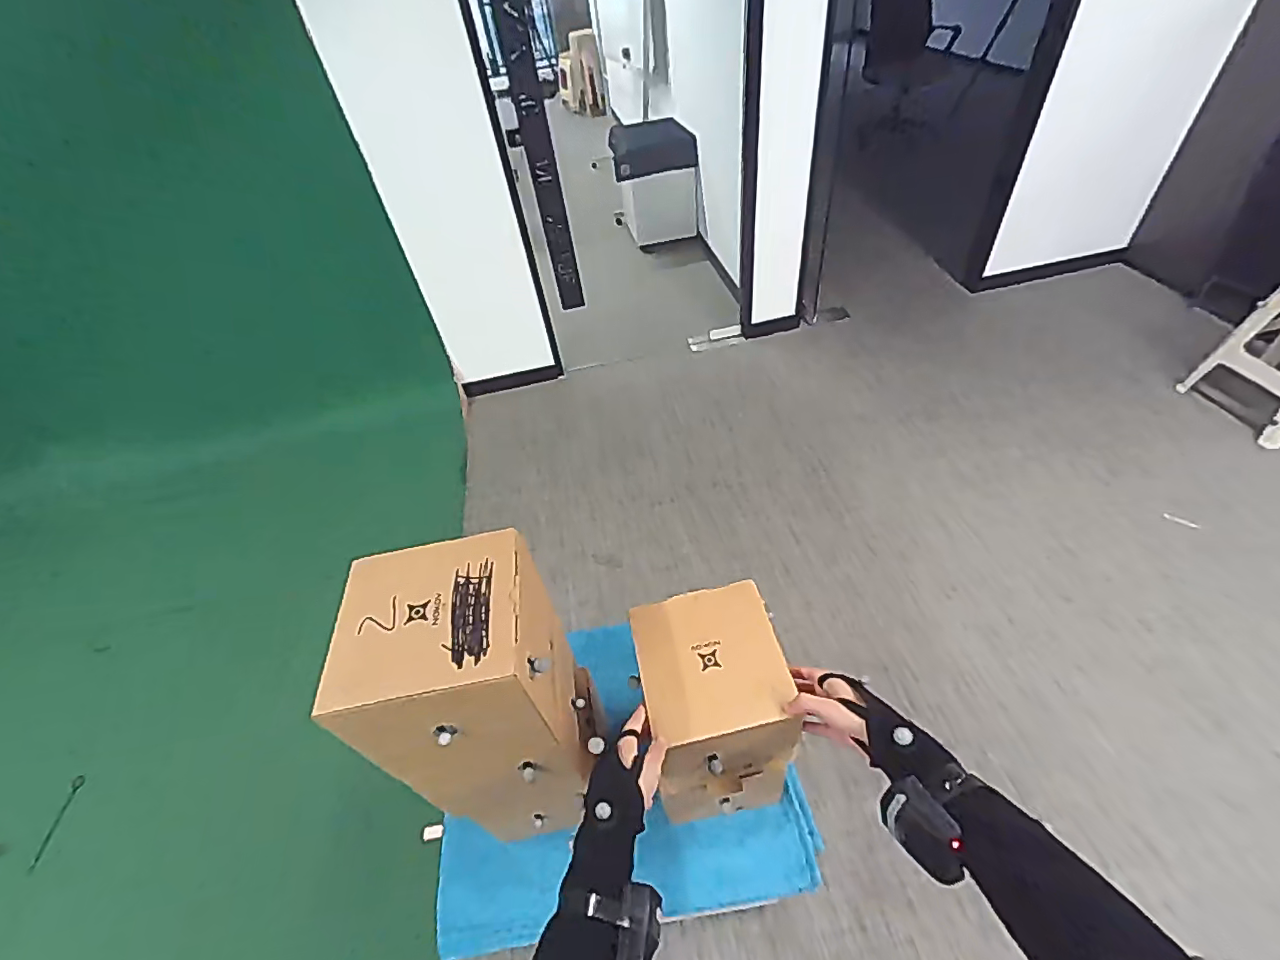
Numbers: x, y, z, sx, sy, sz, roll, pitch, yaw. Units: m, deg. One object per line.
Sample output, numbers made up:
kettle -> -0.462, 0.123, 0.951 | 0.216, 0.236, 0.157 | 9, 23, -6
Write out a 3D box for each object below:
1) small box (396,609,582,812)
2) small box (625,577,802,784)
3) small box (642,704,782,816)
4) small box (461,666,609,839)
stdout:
small box -> -0.171, 0.287, 0.672 | 0.179, 0.176, 0.168 | -11, 45, -2
small box -> 0.086, 0.253, 0.669 | 0.168, 0.176, 0.179 | -13, 45, -3
small box -> 0.097, 0.367, 0.785 | 0.168, 0.176, 0.179 | -11, 46, -2
small box -> -0.144, 0.399, 0.790 | 0.179, 0.176, 0.168 | -11, 45, -2
